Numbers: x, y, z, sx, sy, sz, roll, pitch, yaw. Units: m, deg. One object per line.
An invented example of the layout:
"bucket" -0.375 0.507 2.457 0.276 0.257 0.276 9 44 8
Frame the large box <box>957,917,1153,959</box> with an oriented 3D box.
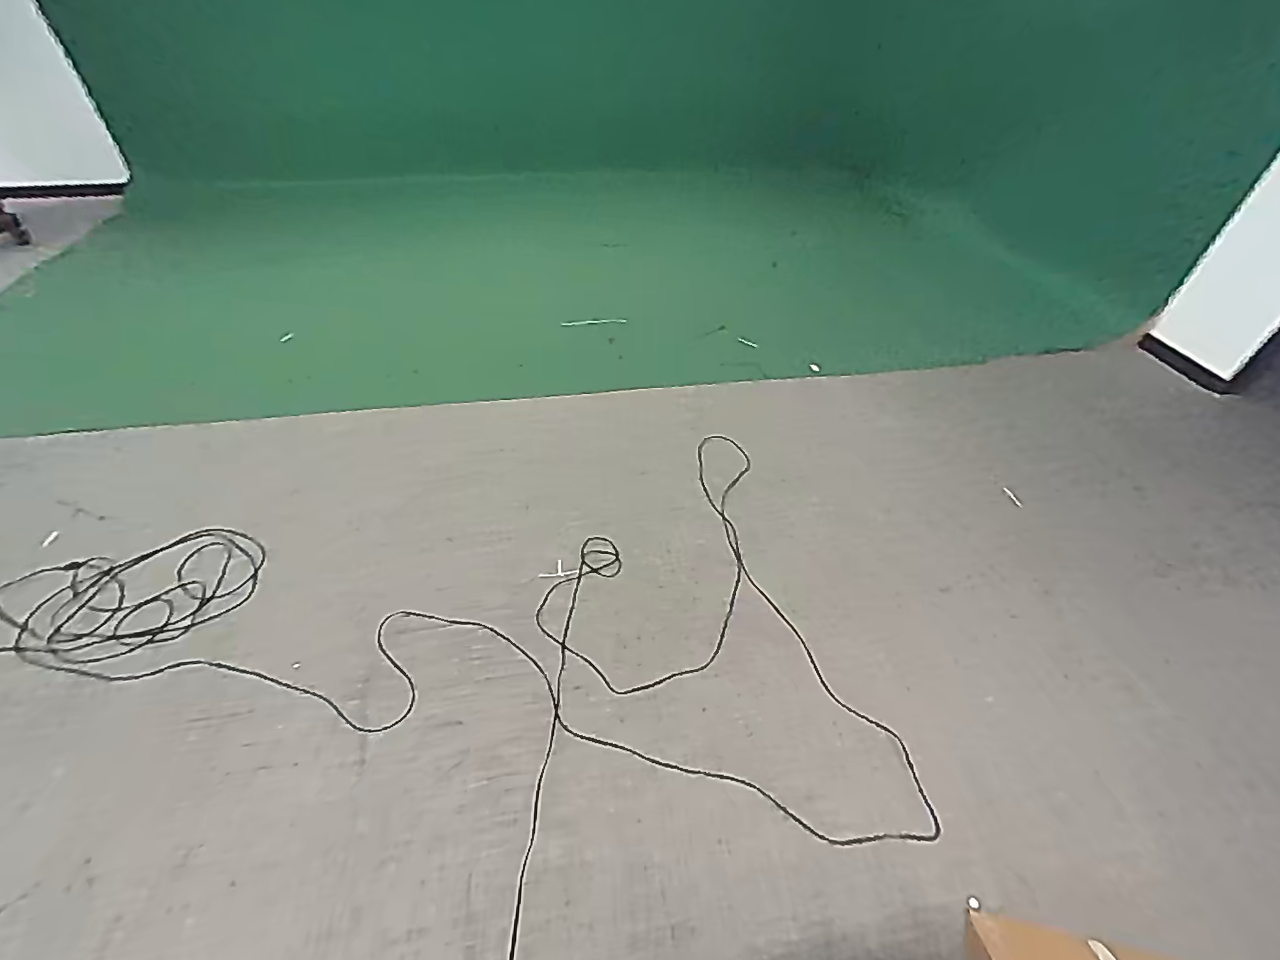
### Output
"large box" 0.556 0.784 0.550 0.320 0.408 0.320 8 89 10
